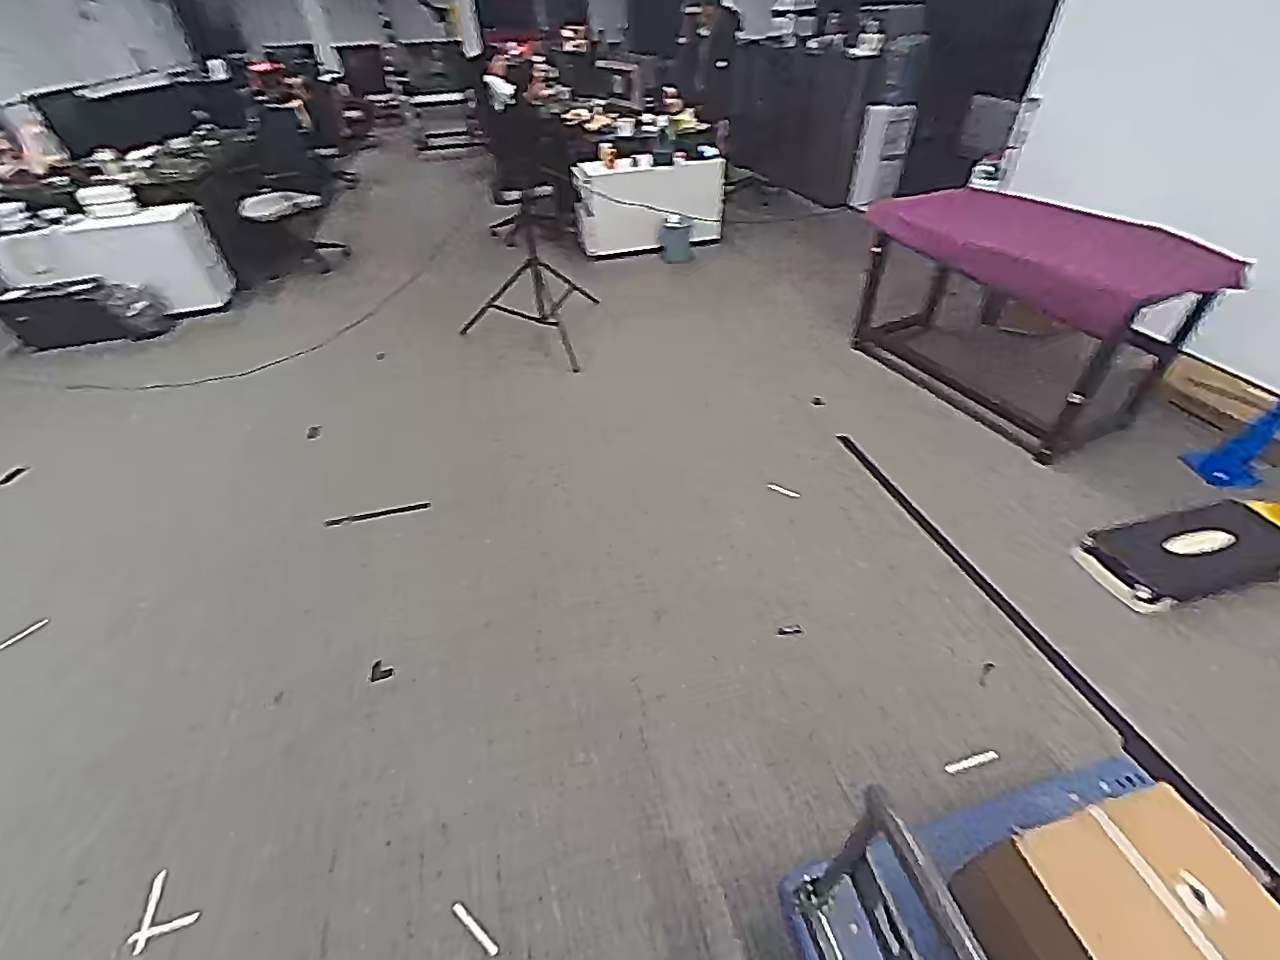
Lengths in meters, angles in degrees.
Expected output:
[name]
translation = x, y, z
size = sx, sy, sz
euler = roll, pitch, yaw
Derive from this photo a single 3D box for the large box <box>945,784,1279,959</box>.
[large box]
translation = 0.796, 0.794, 0.868
size = 0.320, 0.320, 0.408
euler = -11, 41, -10
